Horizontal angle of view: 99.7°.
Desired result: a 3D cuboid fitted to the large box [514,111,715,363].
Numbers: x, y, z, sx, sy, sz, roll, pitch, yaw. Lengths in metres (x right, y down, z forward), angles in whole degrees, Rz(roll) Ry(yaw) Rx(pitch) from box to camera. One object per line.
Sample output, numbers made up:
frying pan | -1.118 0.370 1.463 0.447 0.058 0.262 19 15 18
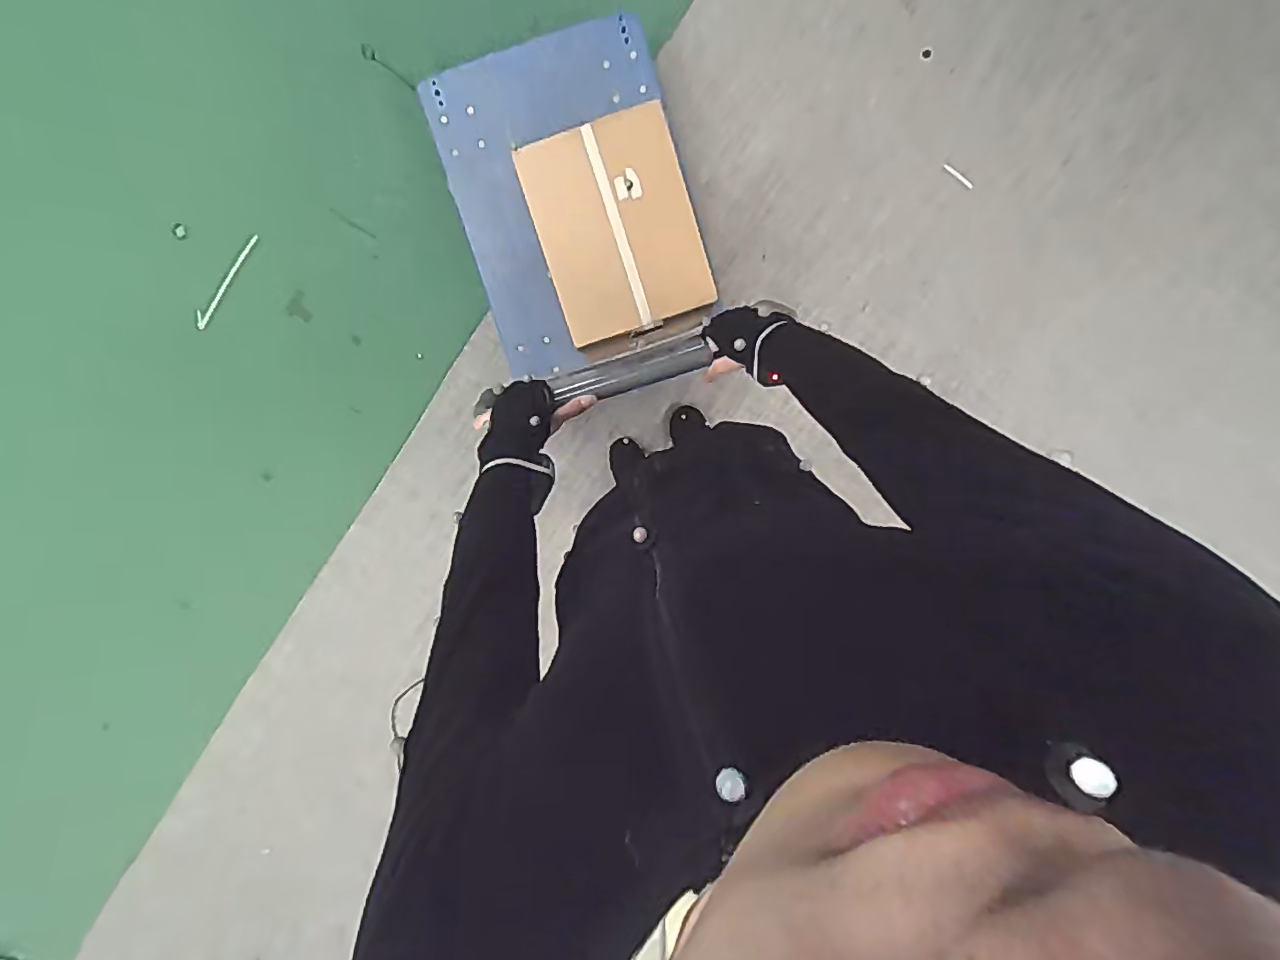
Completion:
large box | -0.047 -0.524 1.256 0.320 0.320 0.408 -18 96 1
